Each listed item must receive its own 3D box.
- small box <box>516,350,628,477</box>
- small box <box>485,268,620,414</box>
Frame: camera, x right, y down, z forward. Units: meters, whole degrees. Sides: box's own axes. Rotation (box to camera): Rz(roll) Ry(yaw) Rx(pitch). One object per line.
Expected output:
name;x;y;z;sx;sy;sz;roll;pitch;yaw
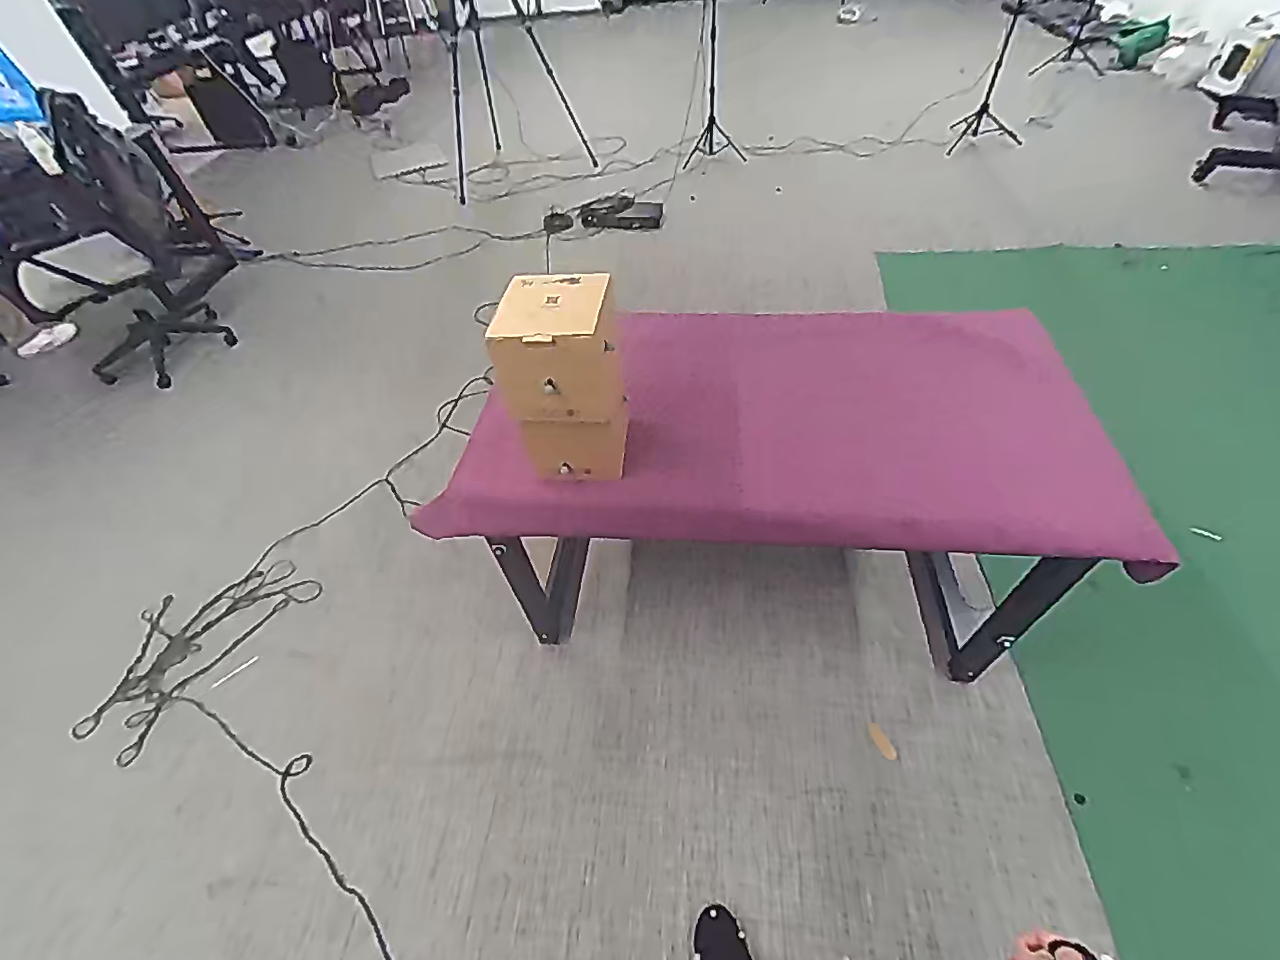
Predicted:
small box;-0.116;-0.126;1.018;0.168;0.176;0.179;1;50;7
small box;-0.129;-0.223;0.887;0.168;0.176;0.179;2;51;8
